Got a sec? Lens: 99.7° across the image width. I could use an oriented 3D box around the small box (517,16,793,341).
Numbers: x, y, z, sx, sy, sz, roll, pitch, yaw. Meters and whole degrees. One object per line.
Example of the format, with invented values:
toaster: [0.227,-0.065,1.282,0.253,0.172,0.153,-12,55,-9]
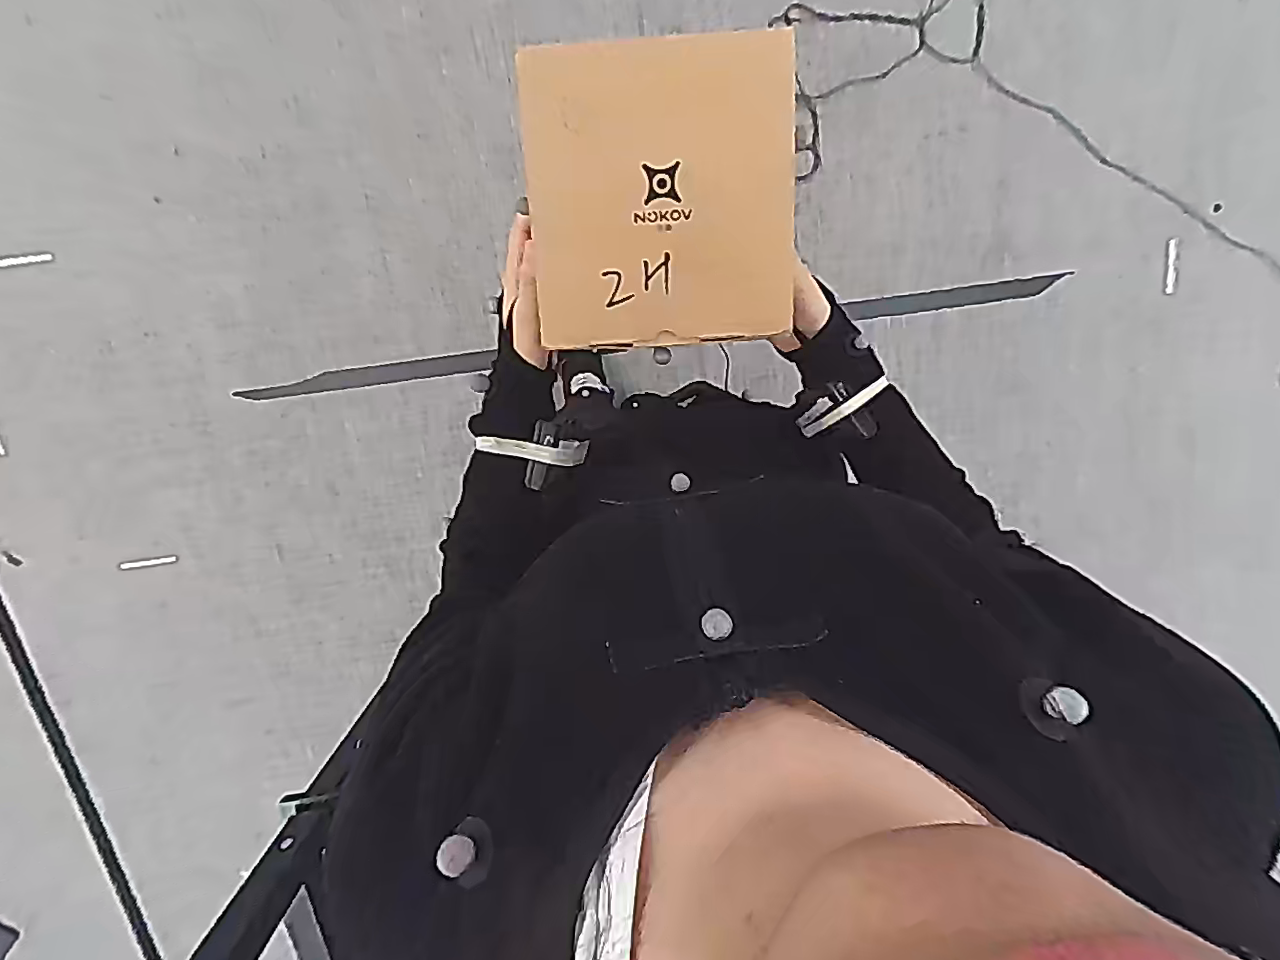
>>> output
small box: [0.012,-0.200,0.411,0.168,0.176,0.179,-2,104,2]
